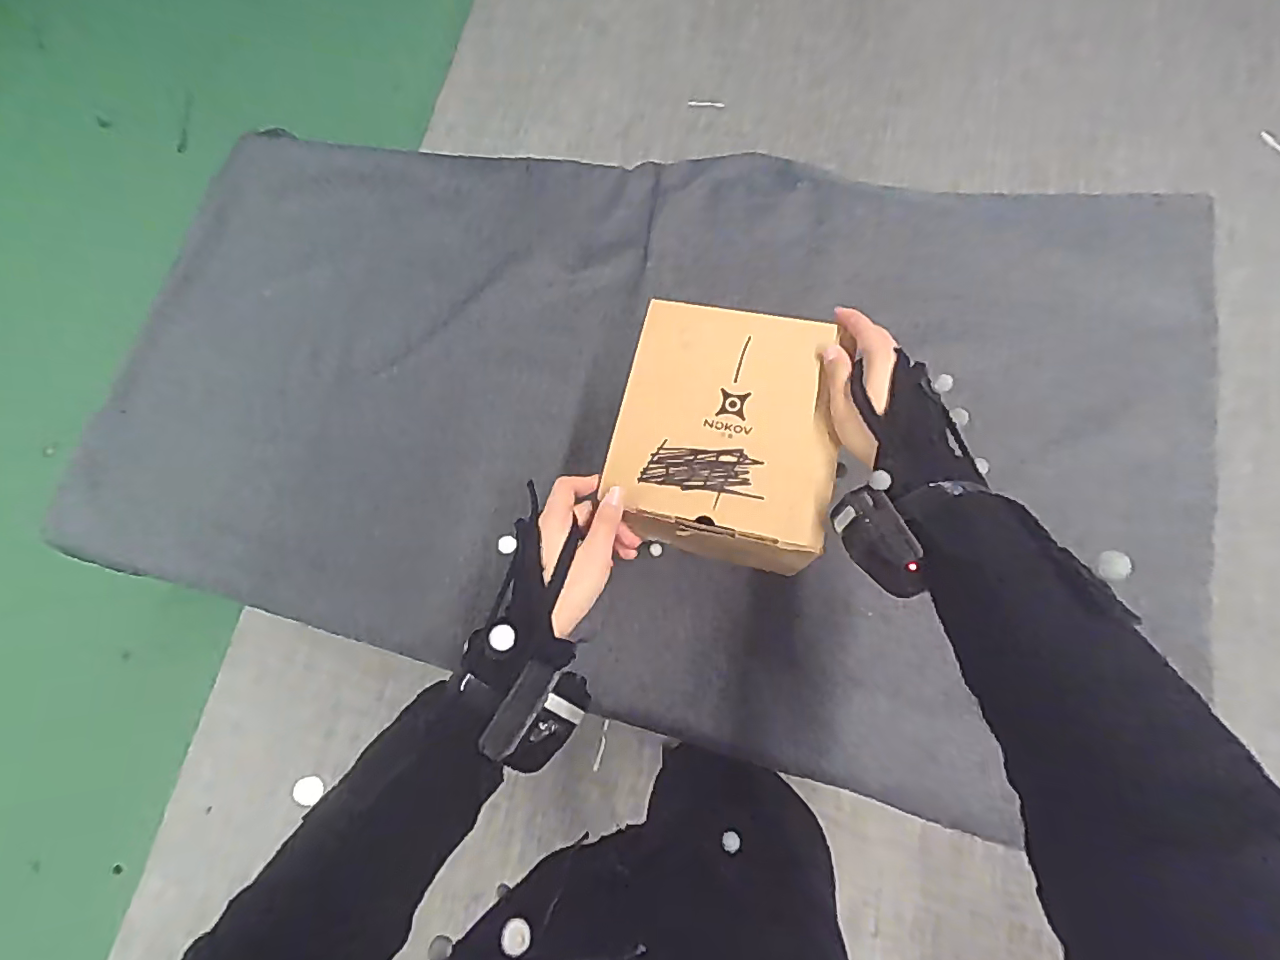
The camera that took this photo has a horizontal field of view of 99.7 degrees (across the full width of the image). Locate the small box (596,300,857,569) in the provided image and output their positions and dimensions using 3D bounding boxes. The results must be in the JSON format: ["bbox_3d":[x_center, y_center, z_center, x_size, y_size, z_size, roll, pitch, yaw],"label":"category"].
[{"bbox_3d":[0.077,-0.027,0.479,0.168,0.176,0.179,12,76,11],"label":"small box"}]
